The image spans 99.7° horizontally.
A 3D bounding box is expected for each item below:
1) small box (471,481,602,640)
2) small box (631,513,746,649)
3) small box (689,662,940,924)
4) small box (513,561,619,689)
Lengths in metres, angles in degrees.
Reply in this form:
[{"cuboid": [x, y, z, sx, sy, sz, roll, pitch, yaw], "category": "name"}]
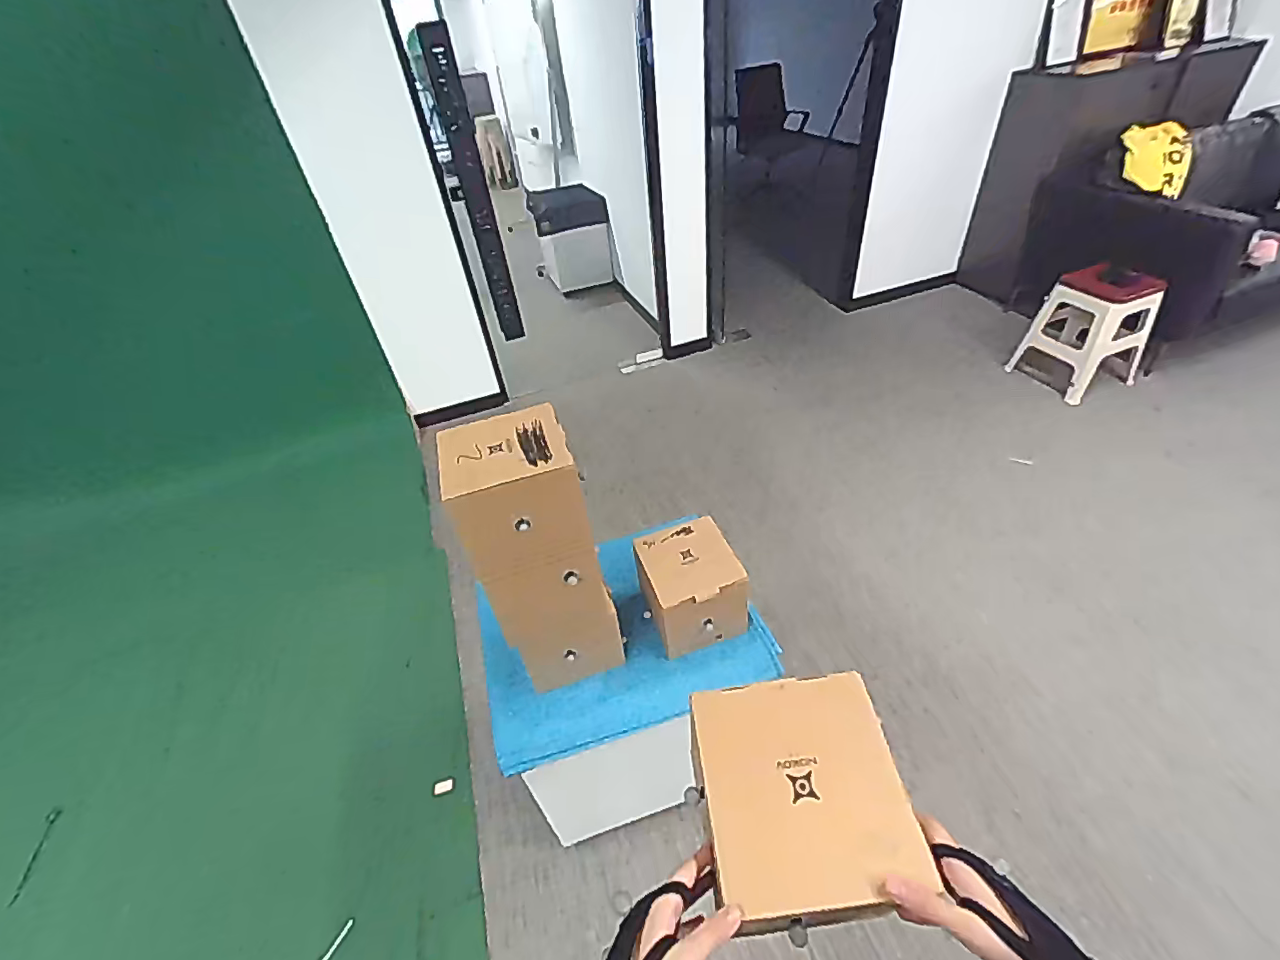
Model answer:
[{"cuboid": [-0.166, 0.133, 0.897, 0.179, 0.176, 0.168, -16, 41, -11], "category": "small box"}, {"cuboid": [0.092, 0.199, 1.037, 0.168, 0.176, 0.179, -16, 42, -10], "category": "small box"}, {"cuboid": [0.142, 0.299, 0.512, 0.168, 0.176, 0.179, -7, 45, 0], "category": "small box"}, {"cuboid": [-0.143, 0.254, 1.006, 0.179, 0.176, 0.168, -17, 41, -11], "category": "small box"}]
